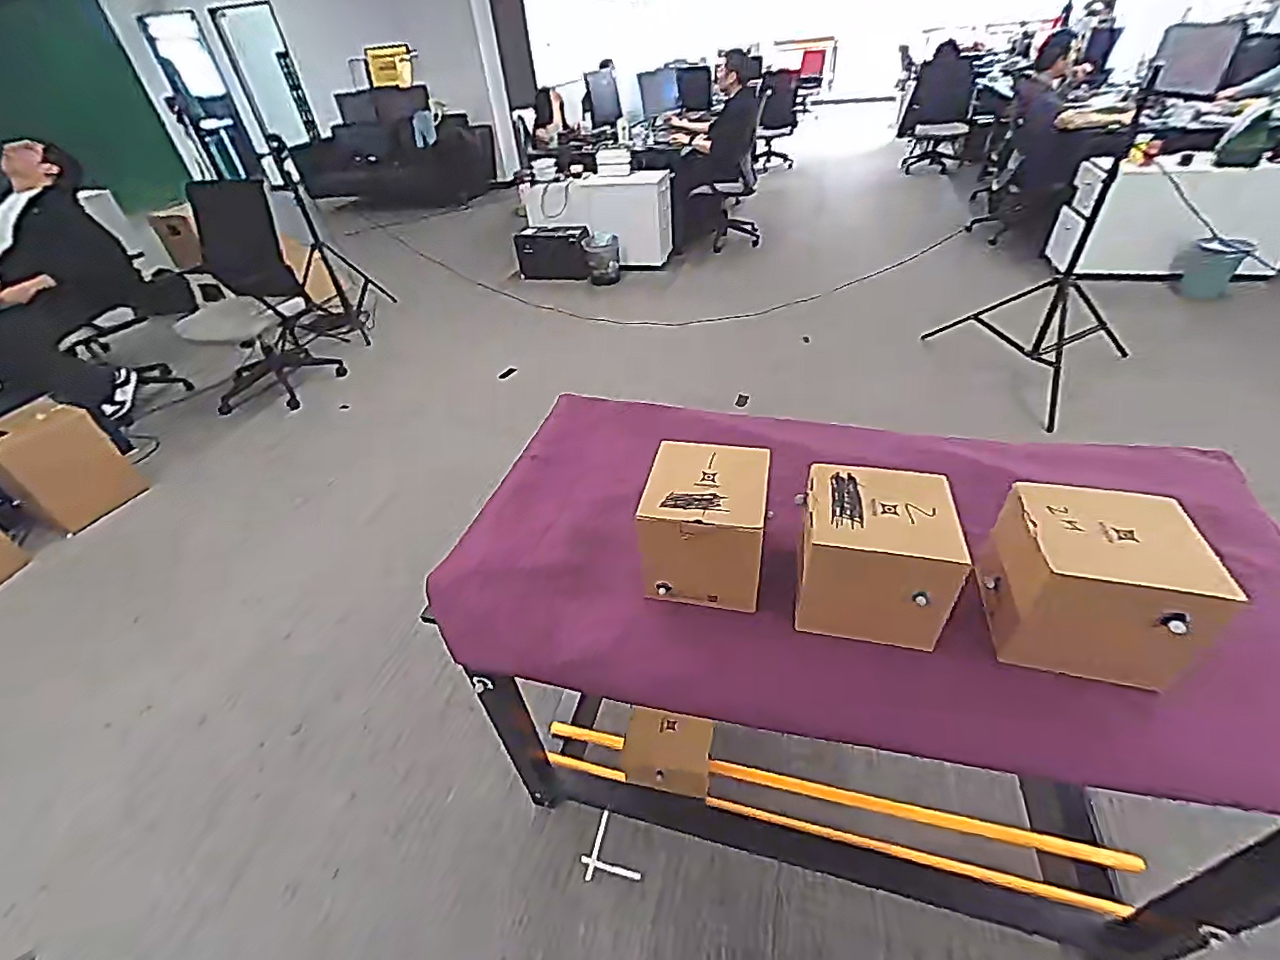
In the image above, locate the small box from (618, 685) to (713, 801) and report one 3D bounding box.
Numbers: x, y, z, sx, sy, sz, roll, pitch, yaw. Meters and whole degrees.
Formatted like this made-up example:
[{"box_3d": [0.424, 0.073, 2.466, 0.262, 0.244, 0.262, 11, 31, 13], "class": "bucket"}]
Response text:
[{"box_3d": [0.063, 0.570, 1.169, 0.179, 0.176, 0.168, 3, 42, 11], "class": "small box"}]
